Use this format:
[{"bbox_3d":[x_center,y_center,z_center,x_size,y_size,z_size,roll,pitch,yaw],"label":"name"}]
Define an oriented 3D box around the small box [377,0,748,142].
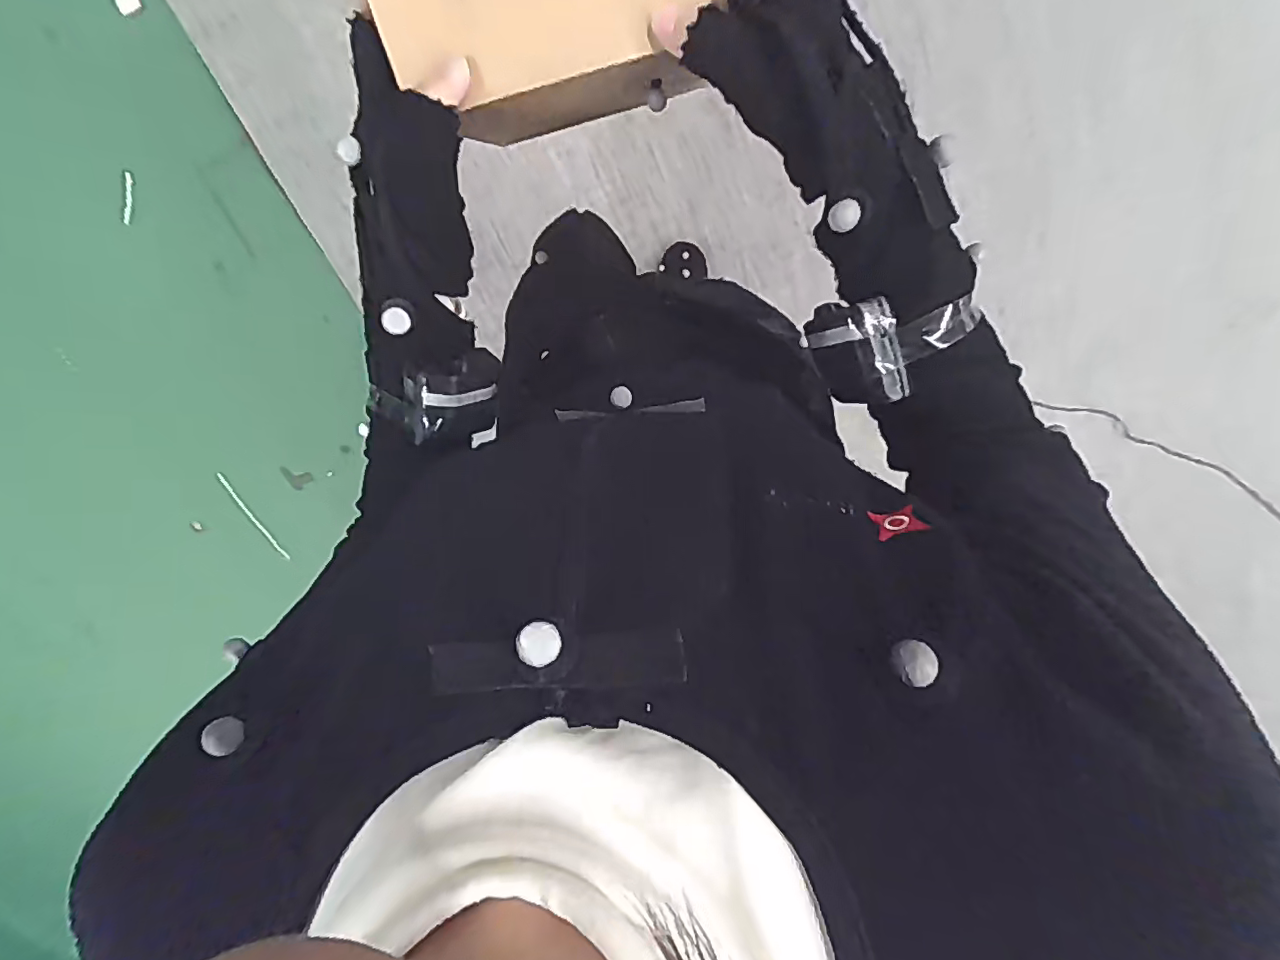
[{"bbox_3d":[-0.050,-0.313,0.303,0.179,0.176,0.168,-15,116,11],"label":"small box"}]
